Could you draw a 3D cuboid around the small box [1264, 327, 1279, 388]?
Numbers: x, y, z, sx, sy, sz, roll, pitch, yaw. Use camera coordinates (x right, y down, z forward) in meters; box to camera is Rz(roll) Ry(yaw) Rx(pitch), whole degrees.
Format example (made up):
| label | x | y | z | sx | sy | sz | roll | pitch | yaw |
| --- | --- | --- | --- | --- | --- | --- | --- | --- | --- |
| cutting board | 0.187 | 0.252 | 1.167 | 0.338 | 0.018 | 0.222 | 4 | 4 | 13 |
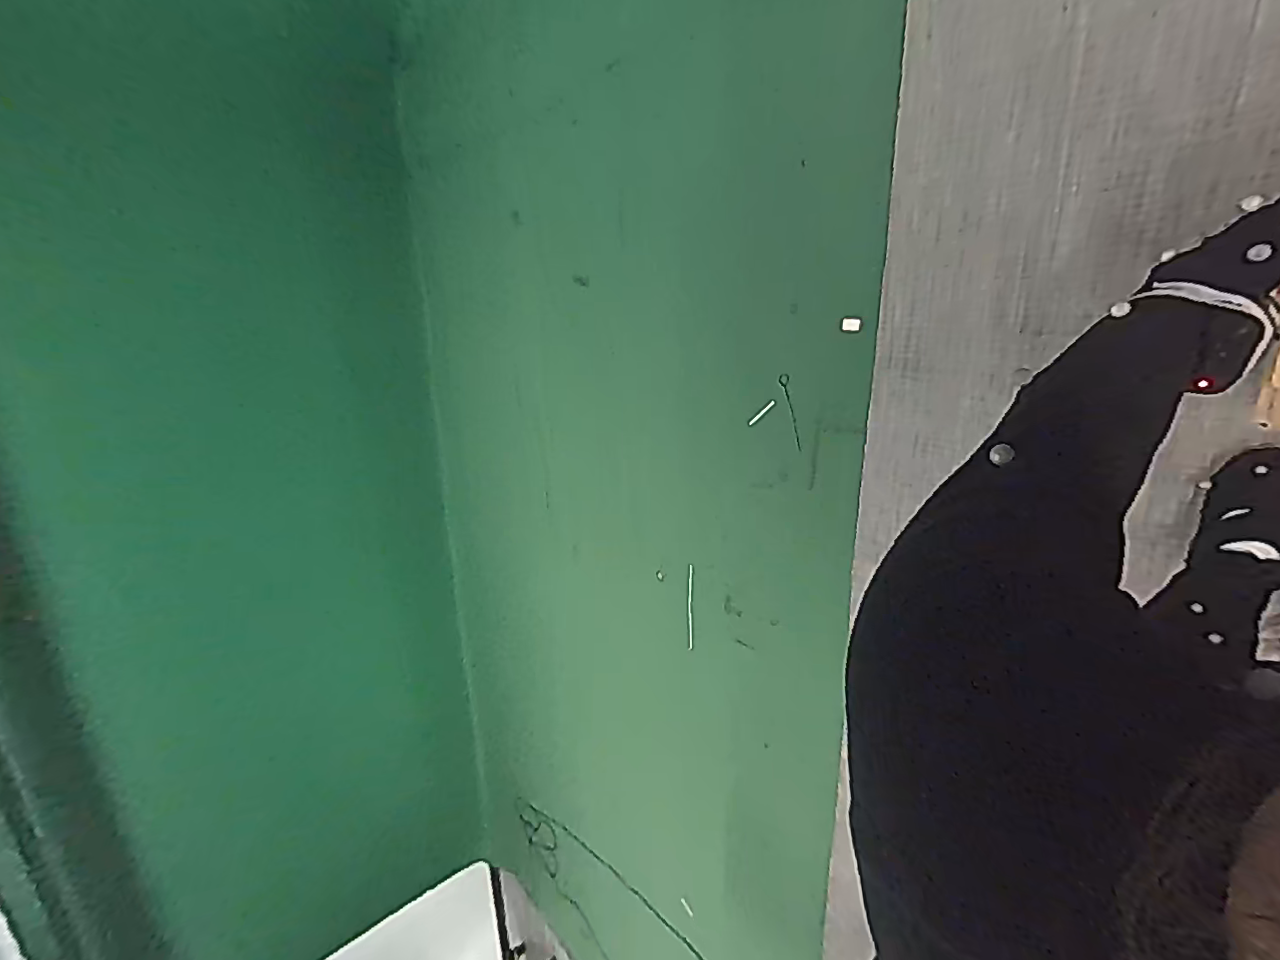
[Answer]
| label | x | y | z | sx | sy | sz | roll | pitch | yaw |
| --- | --- | --- | --- | --- | --- | --- | --- | --- | --- |
| small box | 0.672 | -0.165 | 0.451 | 0.168 | 0.176 | 0.179 | 17 | 113 | 46 |
